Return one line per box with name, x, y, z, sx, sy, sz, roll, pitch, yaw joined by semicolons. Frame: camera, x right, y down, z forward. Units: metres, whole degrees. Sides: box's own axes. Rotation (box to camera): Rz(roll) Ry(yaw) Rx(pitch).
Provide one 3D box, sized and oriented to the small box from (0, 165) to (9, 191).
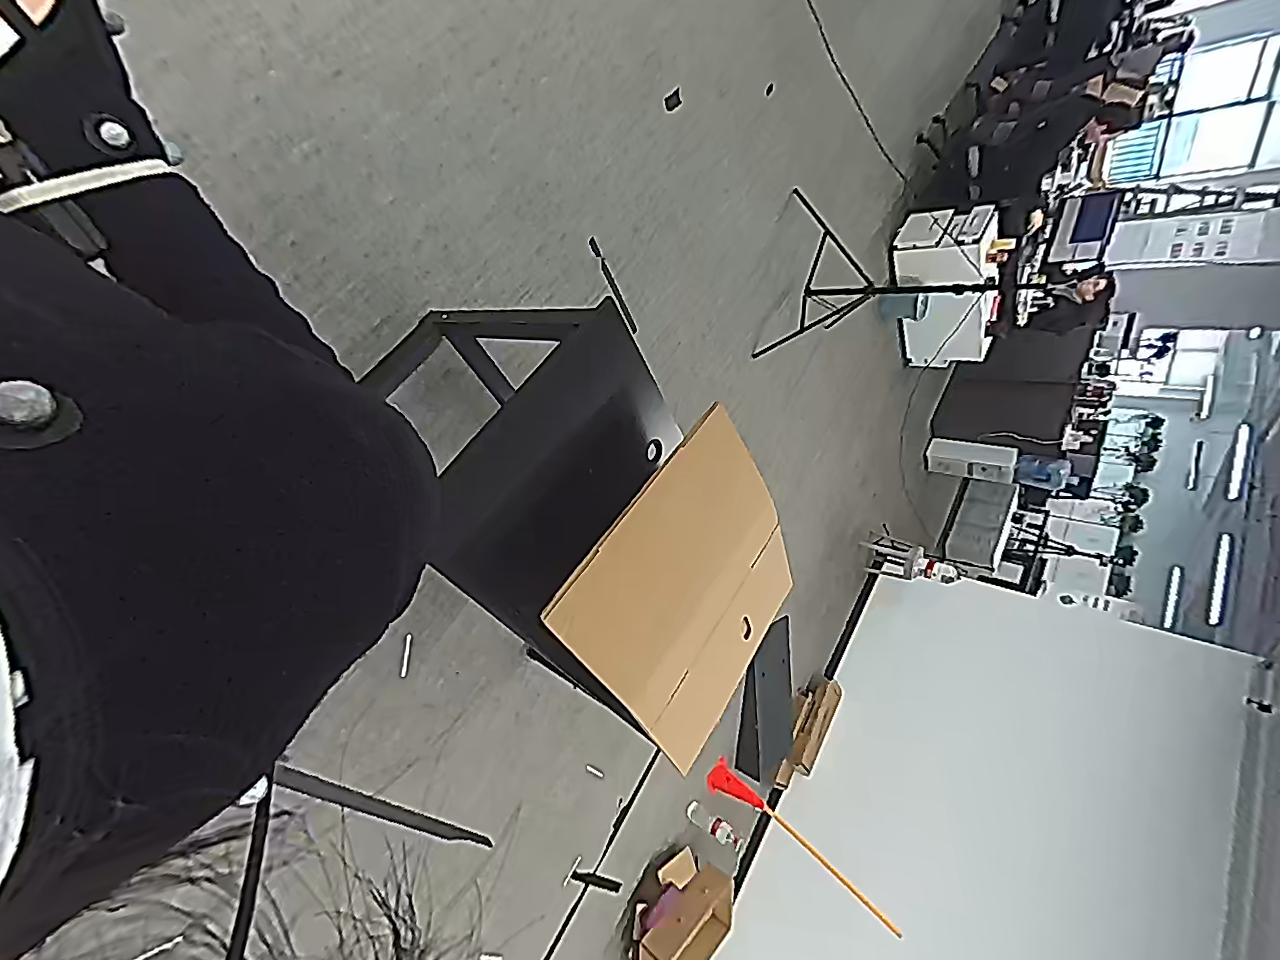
small box;-1.131;-0.478;0.815;0.179;0.176;0.168;-57;137;-20
